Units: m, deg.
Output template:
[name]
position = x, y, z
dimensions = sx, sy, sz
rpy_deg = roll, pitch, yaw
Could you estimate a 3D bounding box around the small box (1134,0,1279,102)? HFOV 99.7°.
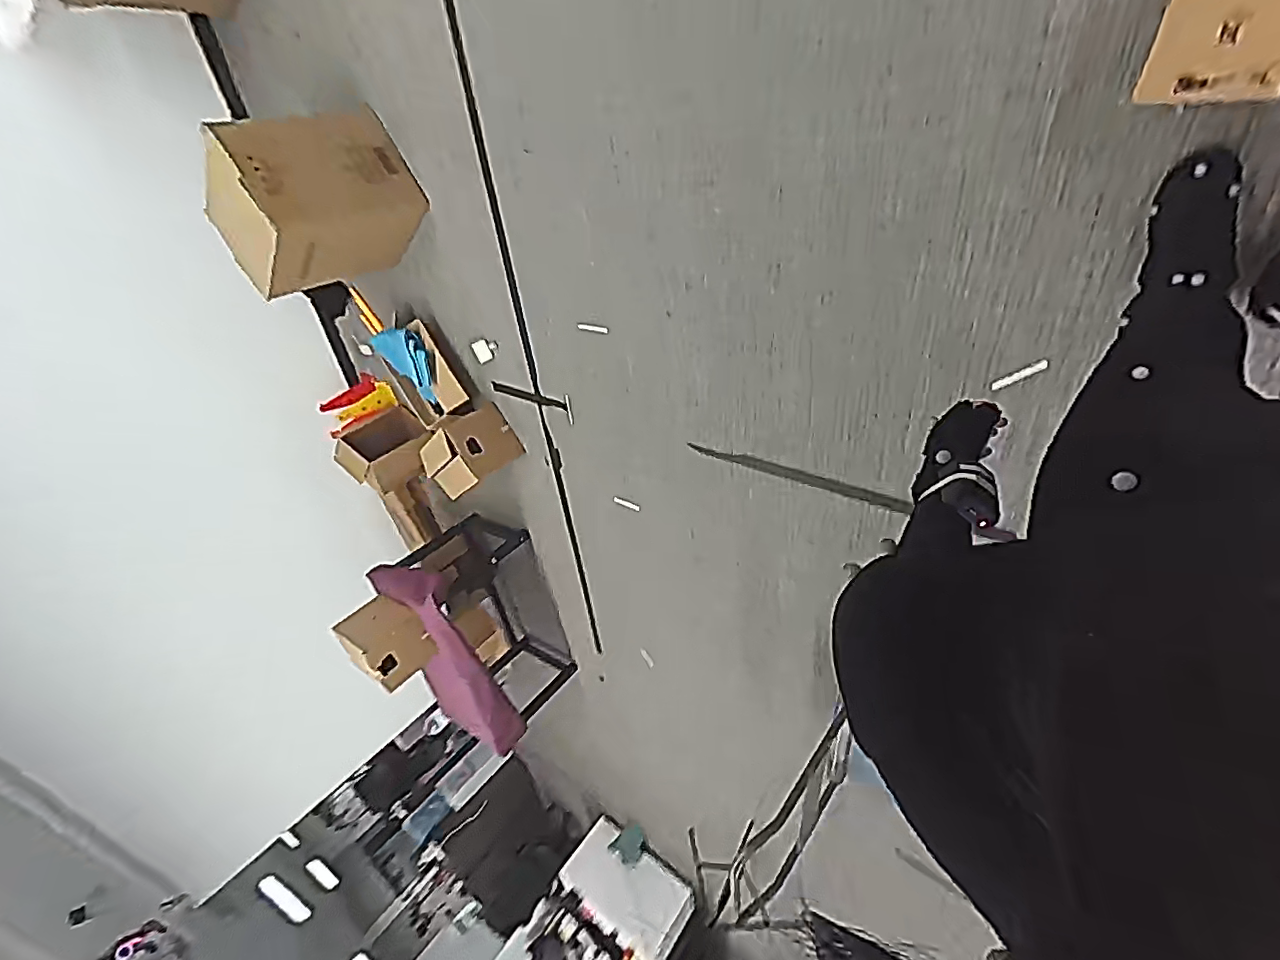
[small box]
position = 0.869, -0.665, 0.793
dimensions = 0.168, 0.176, 0.179
rpy_deg = 23, 133, 33
